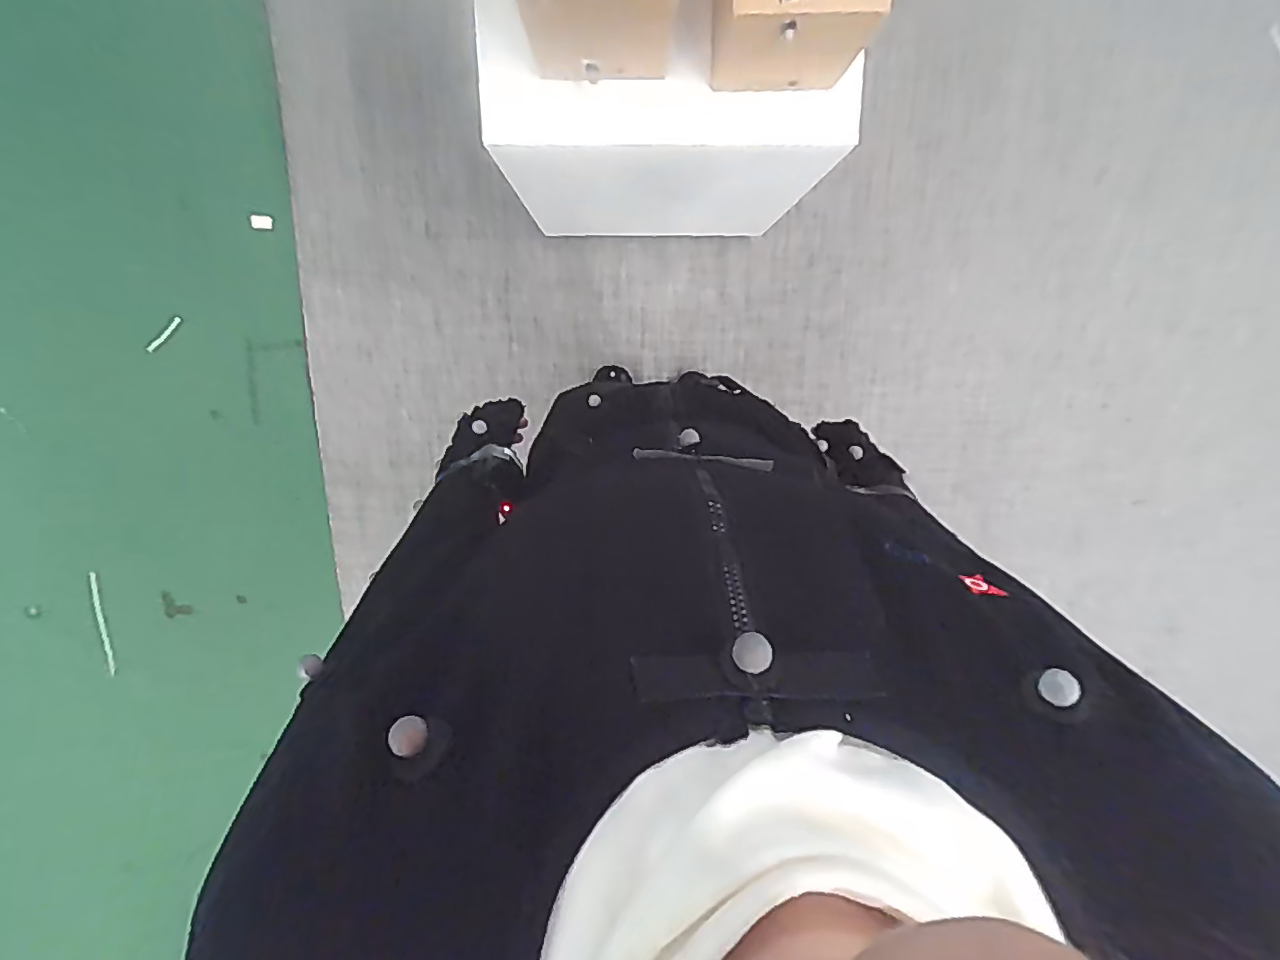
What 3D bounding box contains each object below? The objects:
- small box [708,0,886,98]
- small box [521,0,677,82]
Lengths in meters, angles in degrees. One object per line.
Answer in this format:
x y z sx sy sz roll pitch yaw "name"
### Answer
0.172 -0.582 0.625 0.168 0.176 0.179 -1 101 -1 "small box"
-0.048 -0.589 0.607 0.168 0.176 0.179 -3 103 0 "small box"
